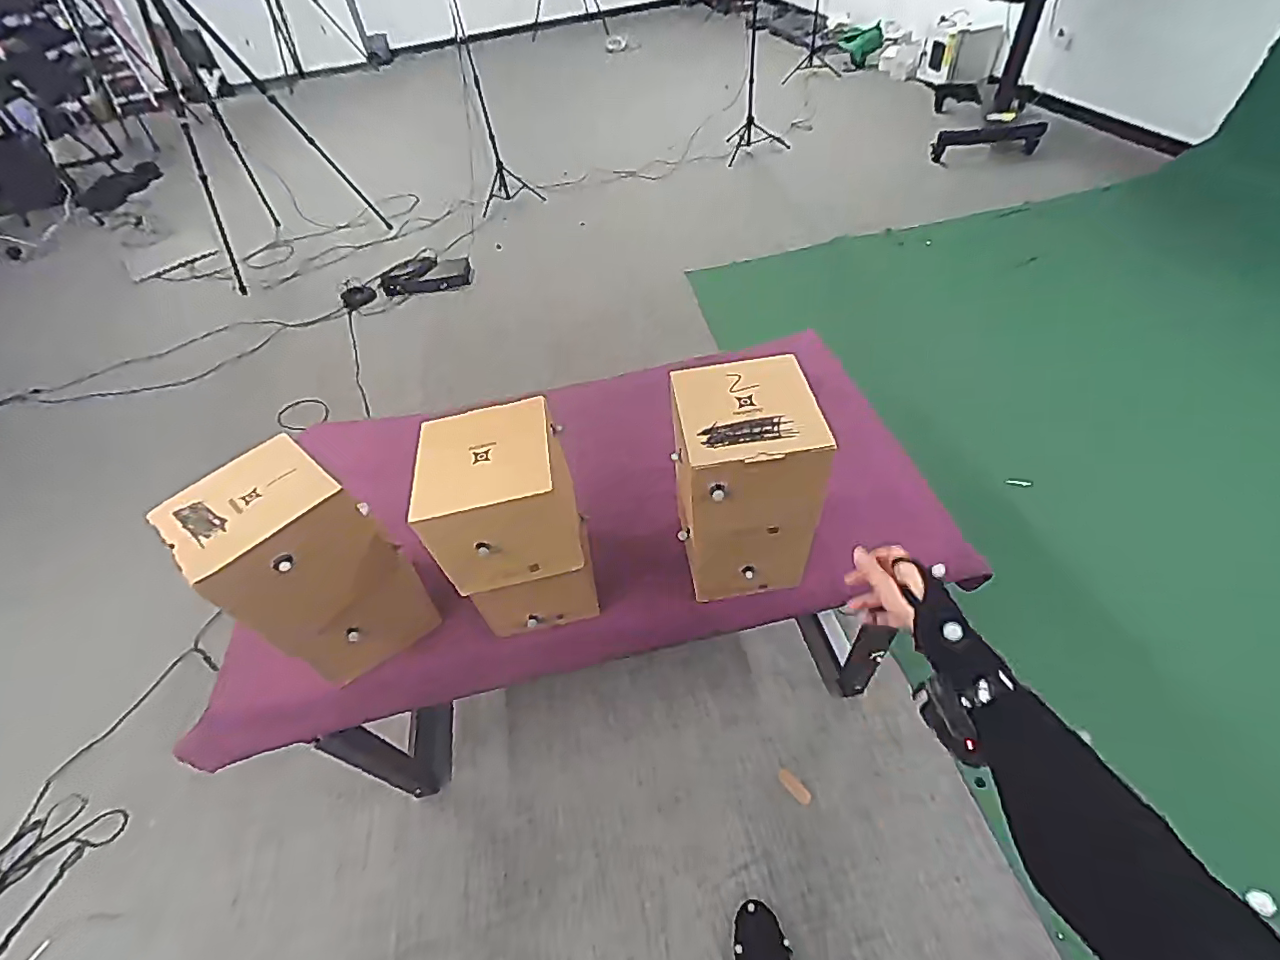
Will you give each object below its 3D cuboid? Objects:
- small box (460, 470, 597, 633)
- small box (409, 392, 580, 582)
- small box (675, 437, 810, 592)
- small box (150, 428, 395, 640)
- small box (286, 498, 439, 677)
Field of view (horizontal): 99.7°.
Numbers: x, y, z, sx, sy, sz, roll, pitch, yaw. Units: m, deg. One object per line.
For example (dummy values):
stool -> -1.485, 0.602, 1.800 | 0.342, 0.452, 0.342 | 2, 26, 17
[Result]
small box -> -0.168, 0.111, 0.845 | 0.168, 0.176, 0.179 | -12, 48, -1
small box -> -0.181, 0.017, 0.713 | 0.168, 0.176, 0.179 | -13, 47, -2
small box -> 0.151, 0.060, 0.844 | 0.168, 0.176, 0.179 | -8, 49, 0
small box -> -0.458, 0.071, 0.697 | 0.168, 0.176, 0.179 | 32, 59, 30
small box -> -0.443, 0.168, 0.831 | 0.179, 0.176, 0.168 | -32, 52, -19
